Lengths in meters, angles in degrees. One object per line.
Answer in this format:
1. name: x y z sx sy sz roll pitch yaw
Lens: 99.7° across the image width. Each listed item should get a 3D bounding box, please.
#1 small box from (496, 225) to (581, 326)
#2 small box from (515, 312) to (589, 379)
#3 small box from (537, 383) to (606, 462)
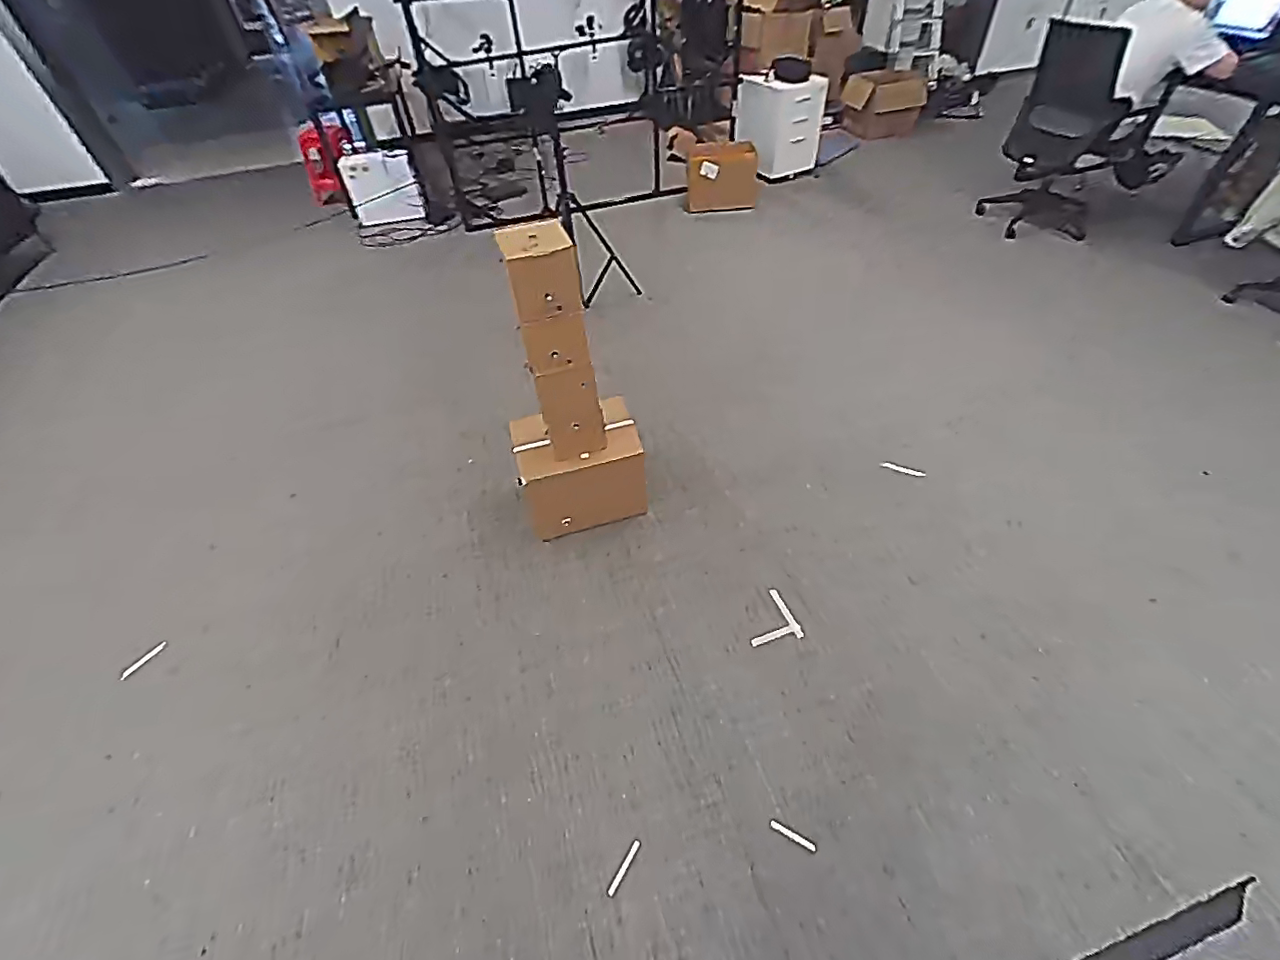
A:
1. small box: -0.257 -0.521 1.380 0.168 0.176 0.179 -17 49 -11
2. small box: -0.247 -0.408 1.499 0.168 0.176 0.179 -16 49 -10
3. small box: -0.216 -0.180 1.732 0.179 0.176 0.168 -16 49 -11
